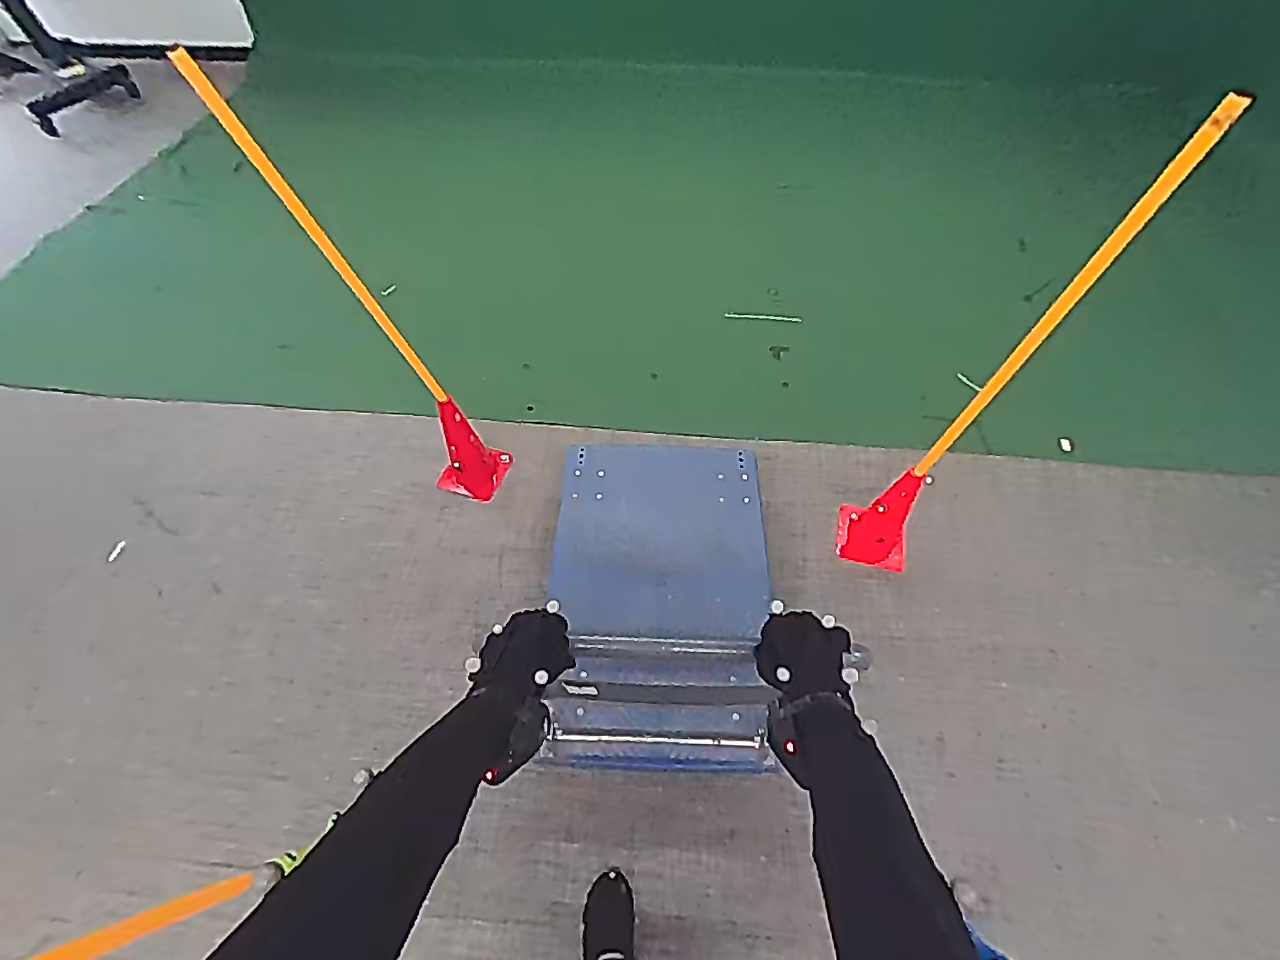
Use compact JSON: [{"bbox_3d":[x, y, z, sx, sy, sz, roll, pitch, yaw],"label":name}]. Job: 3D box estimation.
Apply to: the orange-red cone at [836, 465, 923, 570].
[{"bbox_3d":[0.707,0.077,1.518,0.198,0.360,0.199,13,58,10],"label":"orange-red cone"}]
